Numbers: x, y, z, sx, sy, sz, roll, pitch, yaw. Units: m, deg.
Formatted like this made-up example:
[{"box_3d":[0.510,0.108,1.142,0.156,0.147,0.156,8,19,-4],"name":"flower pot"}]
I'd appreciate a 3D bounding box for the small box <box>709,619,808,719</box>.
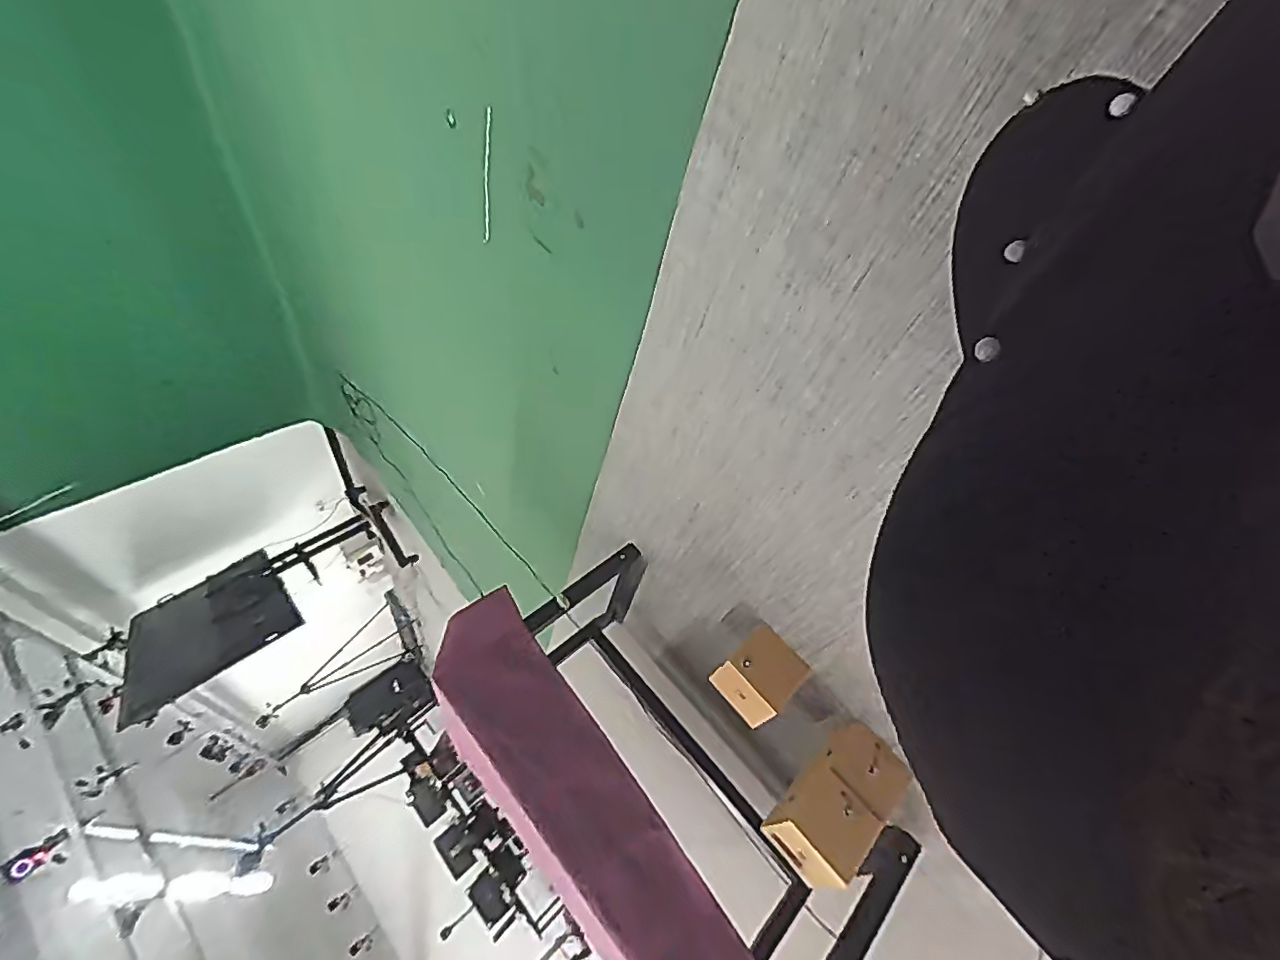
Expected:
[{"box_3d":[0.330,0.520,1.500,0.179,0.176,0.168,46,146,19],"name":"small box"}]
